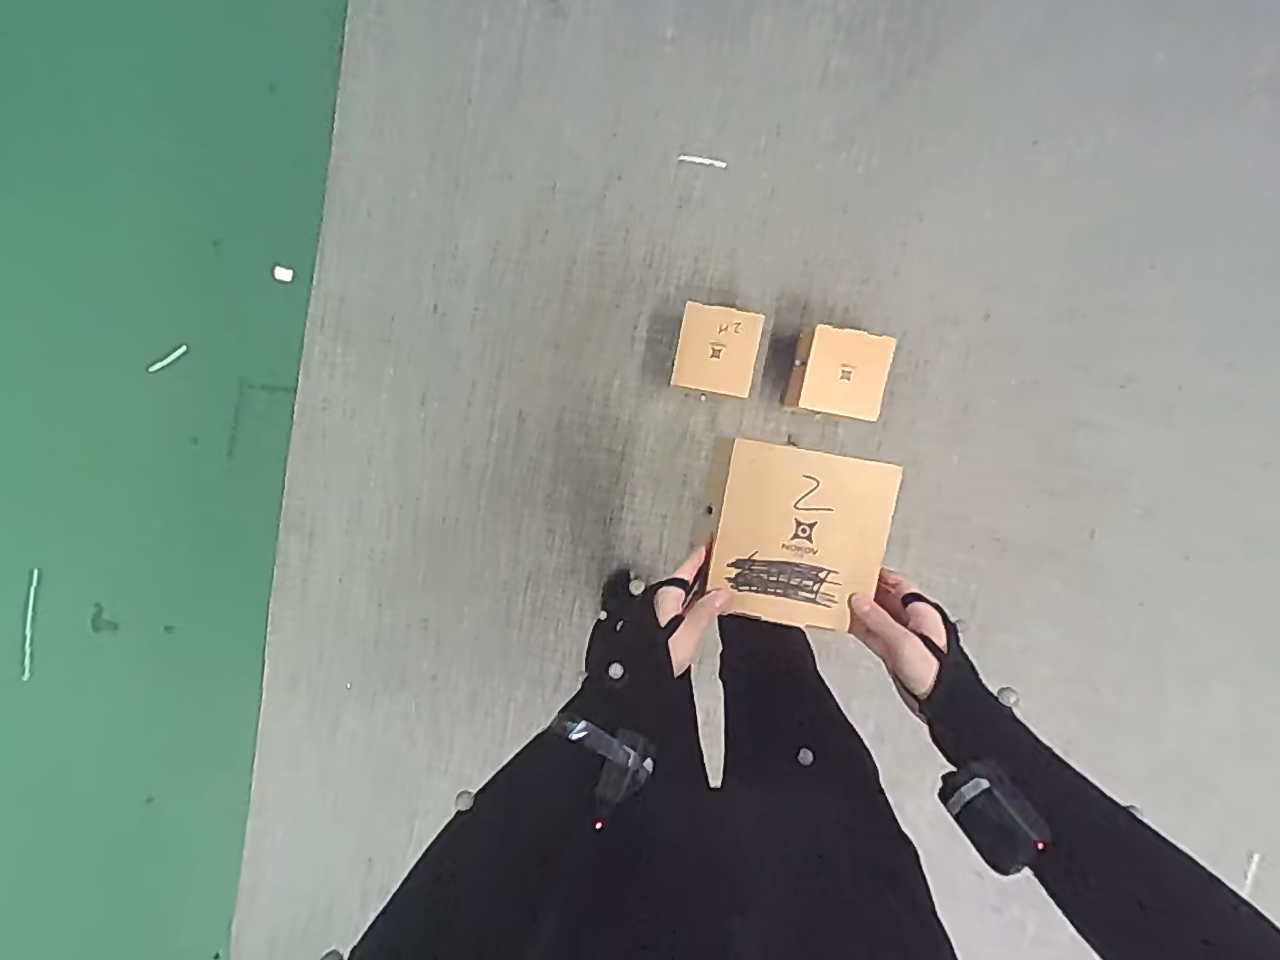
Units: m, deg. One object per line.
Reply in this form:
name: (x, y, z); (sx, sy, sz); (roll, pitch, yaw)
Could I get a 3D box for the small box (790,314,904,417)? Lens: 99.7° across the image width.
small box: (0.431, -0.237, 1.158); (0.168, 0.176, 0.179); (13, 97, 3)

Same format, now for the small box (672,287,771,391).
small box: (0.170, -0.294, 1.168); (0.168, 0.176, 0.179); (13, 97, 2)
